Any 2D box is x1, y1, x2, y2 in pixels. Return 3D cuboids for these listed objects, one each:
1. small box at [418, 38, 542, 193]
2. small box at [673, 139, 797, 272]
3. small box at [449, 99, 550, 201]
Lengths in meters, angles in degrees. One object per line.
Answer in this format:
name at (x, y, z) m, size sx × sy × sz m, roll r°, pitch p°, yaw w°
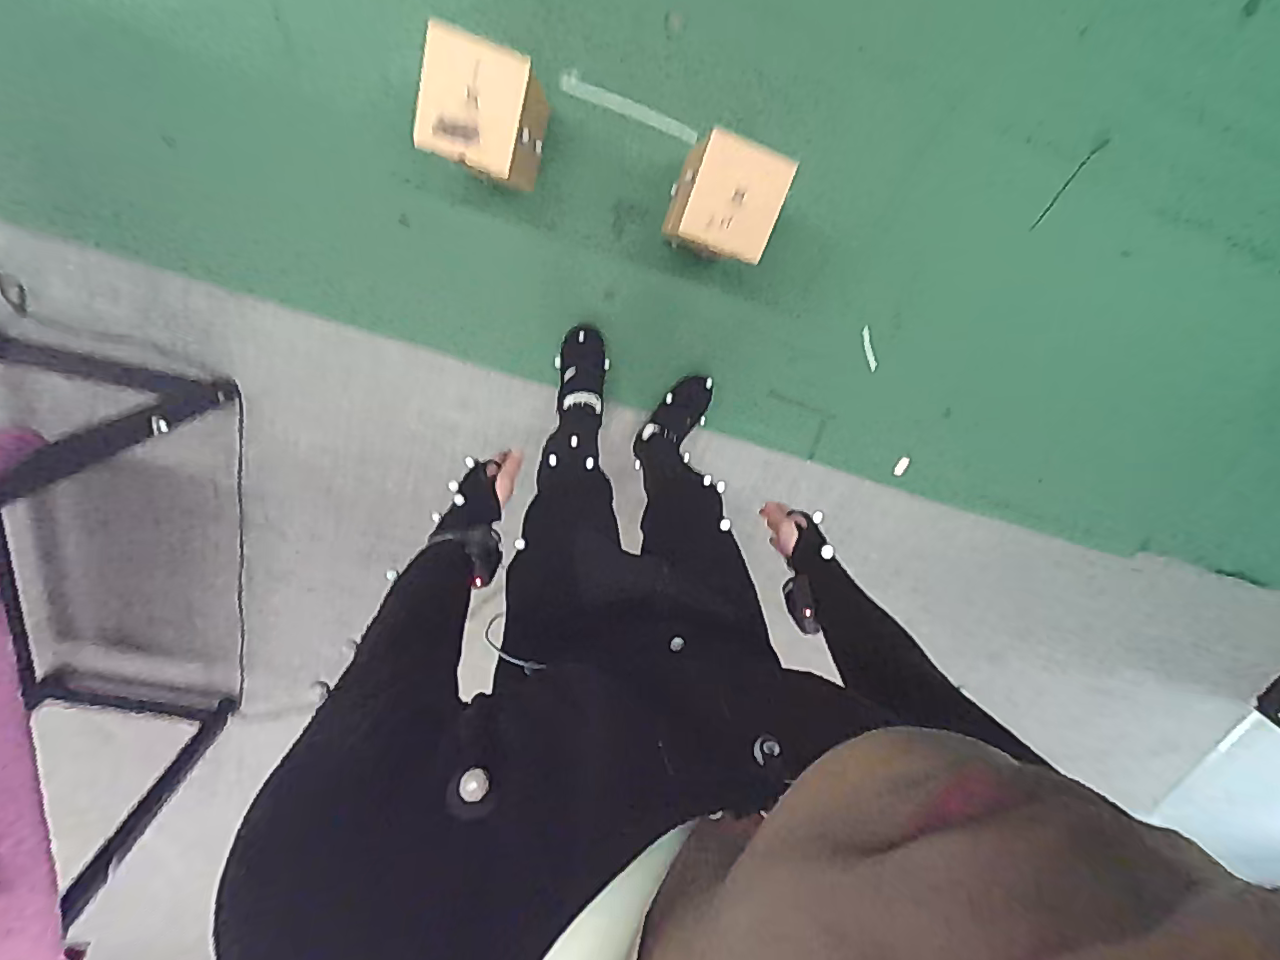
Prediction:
small box at (-0.281, -0.640, 0.978) m, size 0.168 × 0.176 × 0.179 m, roll 16°, pitch 111°, yaw -10°
small box at (0.172, -0.524, 1.052) m, size 0.168 × 0.176 × 0.179 m, roll 17°, pitch 112°, yaw -10°
small box at (-0.290, -0.705, 1.129) m, size 0.168 × 0.176 × 0.179 m, roll 16°, pitch 112°, yaw -10°
